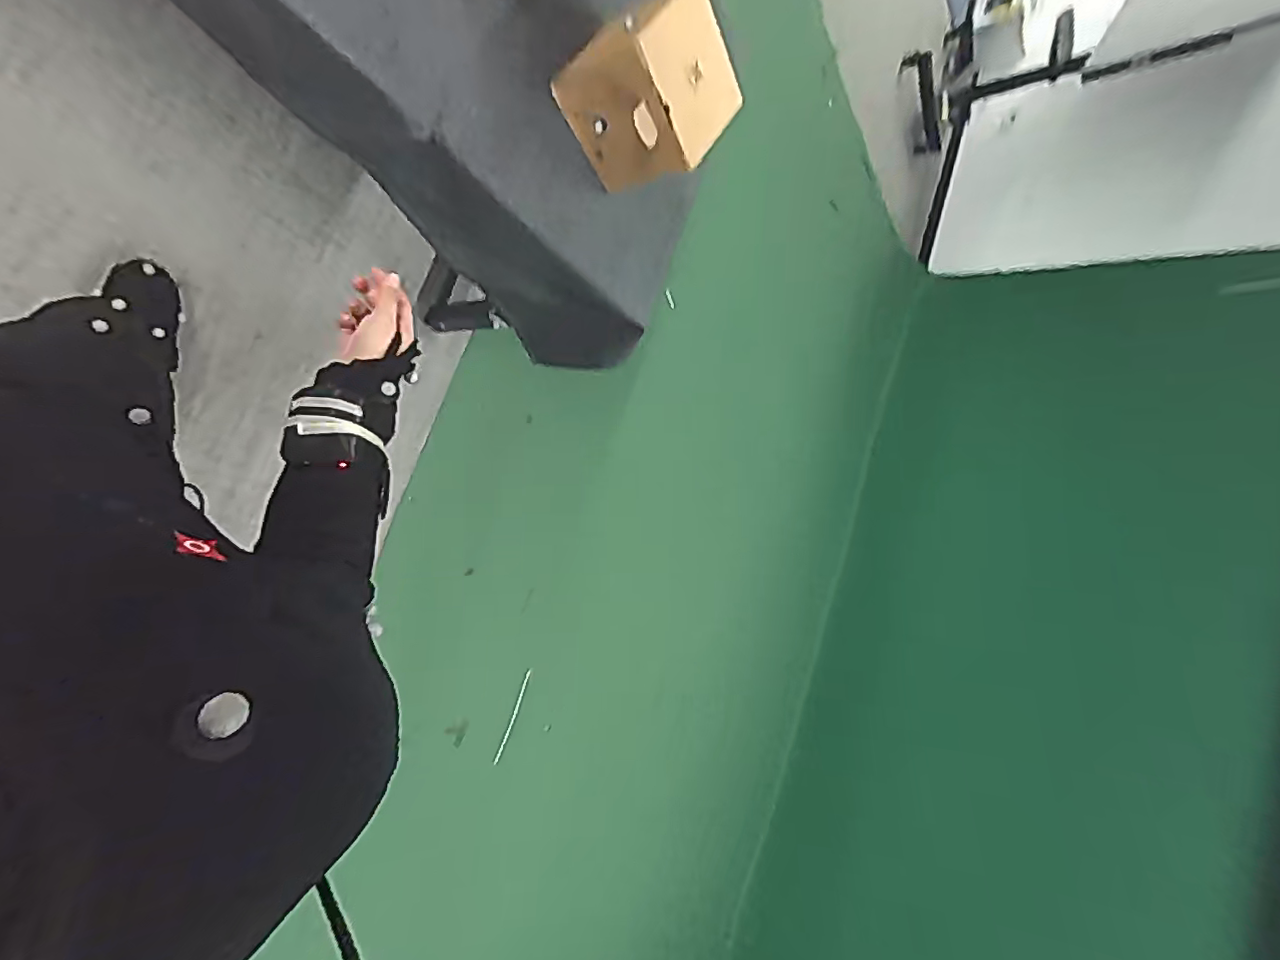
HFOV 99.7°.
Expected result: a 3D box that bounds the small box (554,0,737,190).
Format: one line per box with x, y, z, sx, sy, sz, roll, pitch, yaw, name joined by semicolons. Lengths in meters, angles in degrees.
0.009;-0.555;0.779;0.179;0.176;0.168;-59;136;-20;small box
